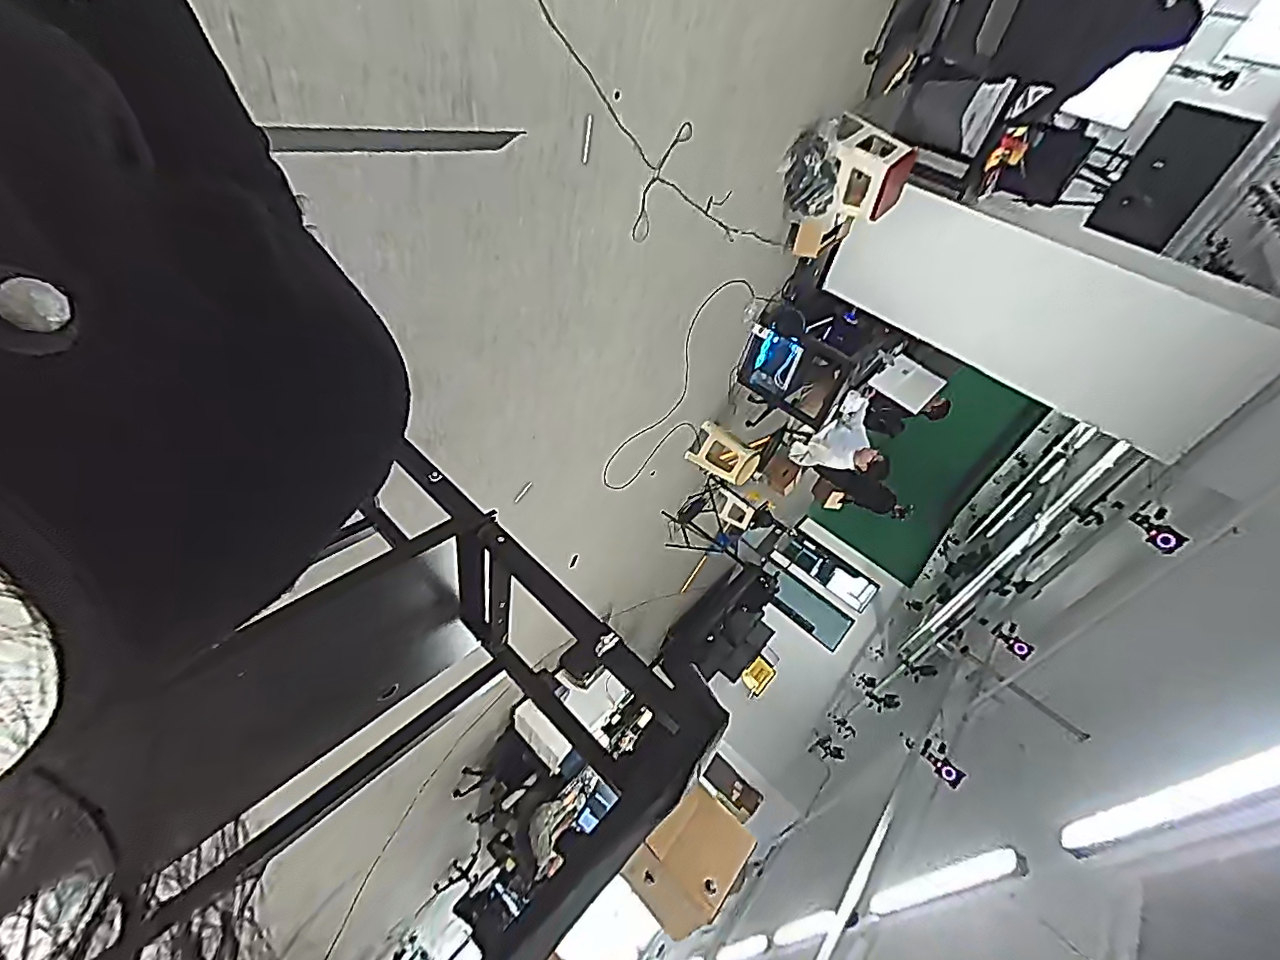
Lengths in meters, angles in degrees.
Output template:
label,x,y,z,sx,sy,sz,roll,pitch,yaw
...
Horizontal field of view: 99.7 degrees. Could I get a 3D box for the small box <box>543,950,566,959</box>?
label,x,y,z,sx,sy,sz,roll,pitch,yaw
small box,-0.144,0.865,0.818,0.179,0.176,0.168,-33,153,-36

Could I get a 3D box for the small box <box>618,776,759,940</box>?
label,x,y,z,sx,sy,sz,roll,pitch,yaw
small box,0.090,0.716,1.039,0.179,0.176,0.168,-26,149,-46
